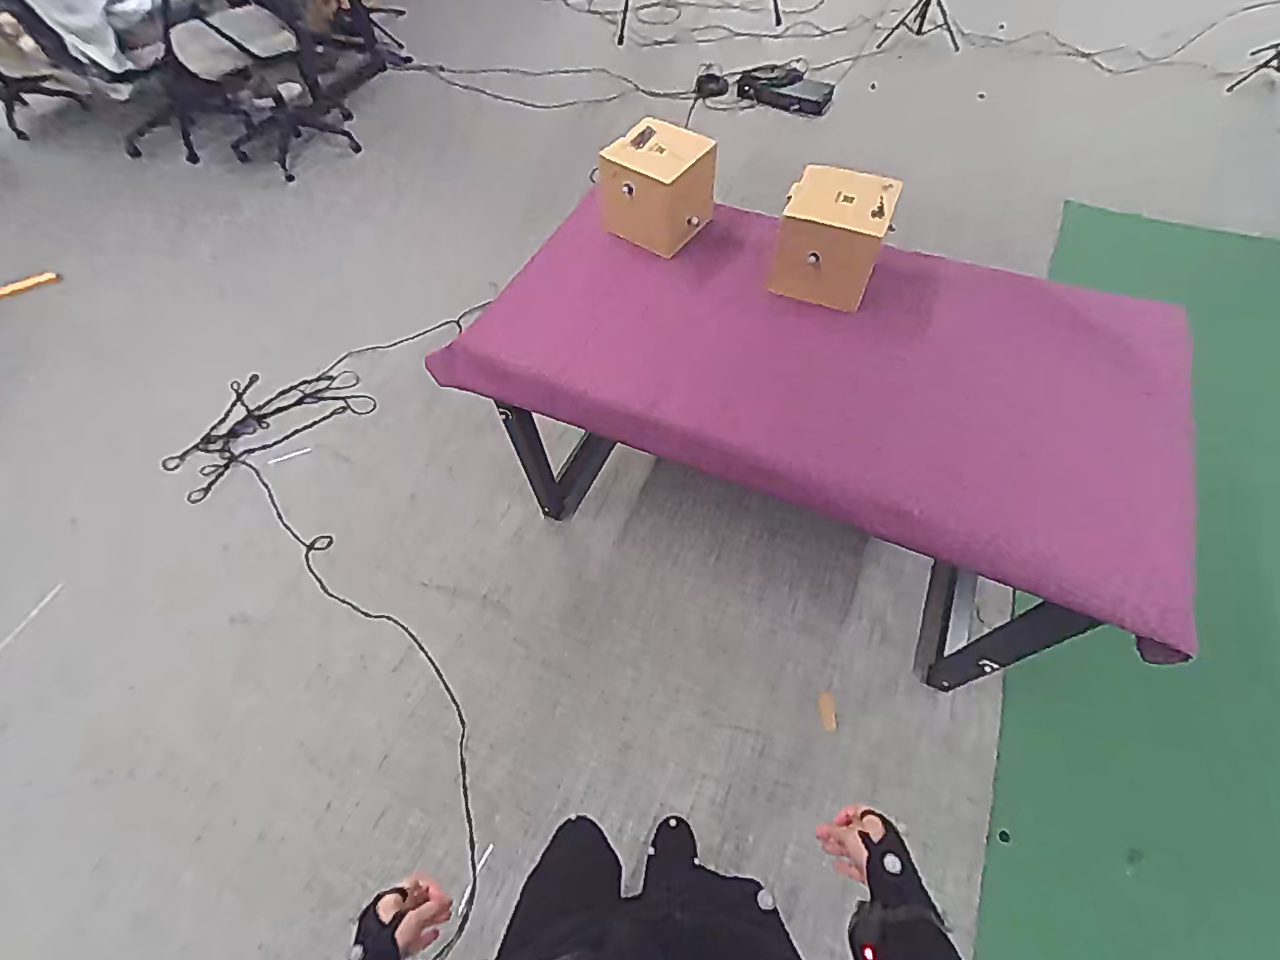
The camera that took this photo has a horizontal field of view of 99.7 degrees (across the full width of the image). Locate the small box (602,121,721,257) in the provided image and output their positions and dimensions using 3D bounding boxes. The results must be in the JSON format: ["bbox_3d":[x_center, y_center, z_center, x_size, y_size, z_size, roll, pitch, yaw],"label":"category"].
[{"bbox_3d":[0.044,-0.596,1.117,0.179,0.176,0.168,33,67,19],"label":"small box"}]

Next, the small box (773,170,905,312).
[{"bbox_3d":[0.363,-0.441,1.011,0.179,0.176,0.168,20,64,15],"label":"small box"}]
